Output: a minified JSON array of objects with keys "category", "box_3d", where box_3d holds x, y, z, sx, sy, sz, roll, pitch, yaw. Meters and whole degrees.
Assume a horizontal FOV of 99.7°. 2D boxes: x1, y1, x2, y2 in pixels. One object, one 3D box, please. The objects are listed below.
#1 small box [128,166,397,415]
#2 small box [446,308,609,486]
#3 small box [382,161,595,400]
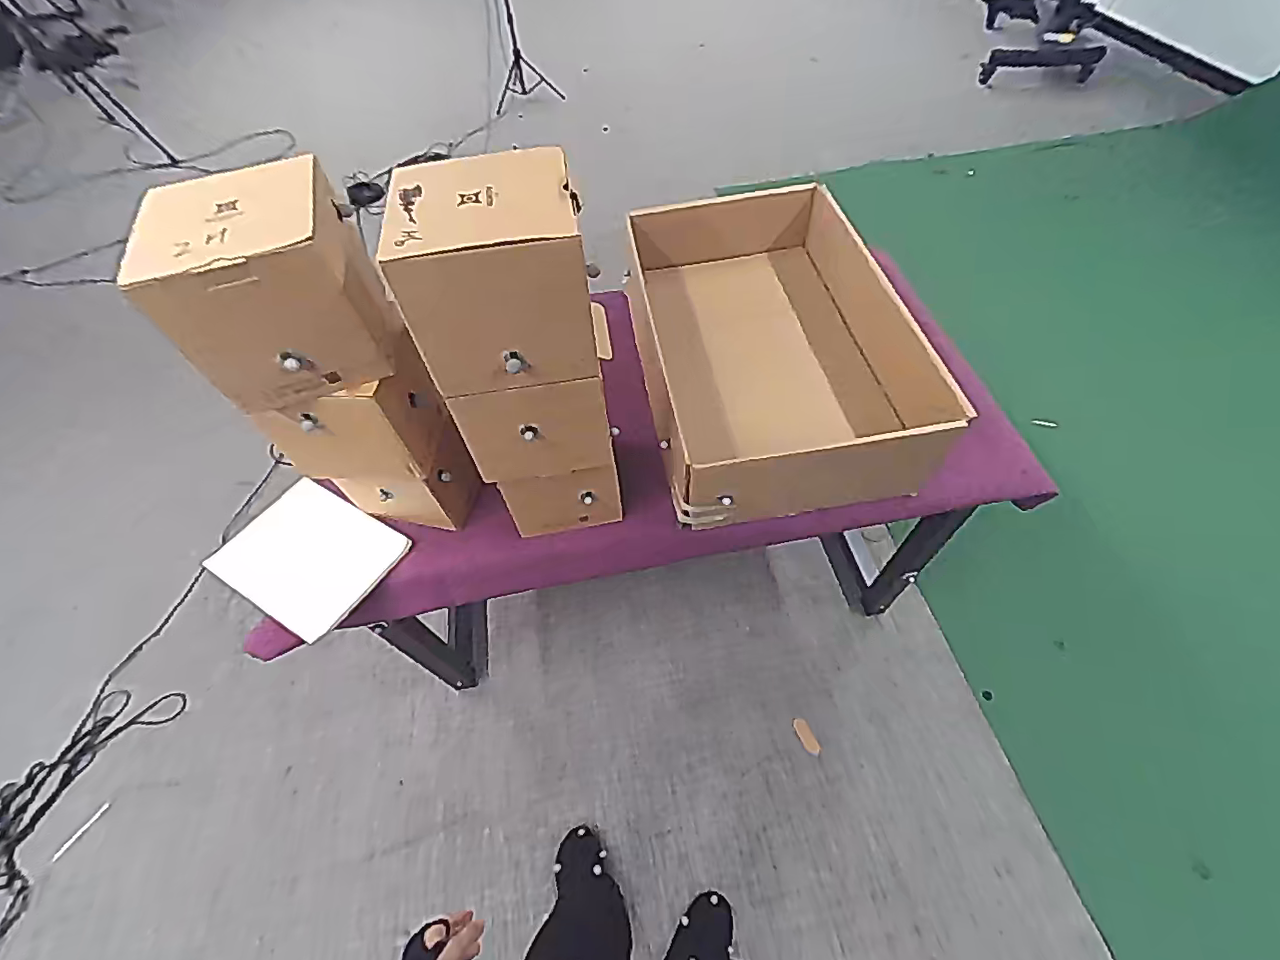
[{"category":"small box","box_3d":[-0.383,-0.201,0.586,0.168,0.176,0.179,-18,56,-7]},{"category":"small box","box_3d":[-0.136,-0.111,0.708,0.179,0.176,0.168,-9,54,-3]},{"category":"small box","box_3d":[-0.143,-0.206,0.573,0.179,0.176,0.168,-9,54,-4]}]
